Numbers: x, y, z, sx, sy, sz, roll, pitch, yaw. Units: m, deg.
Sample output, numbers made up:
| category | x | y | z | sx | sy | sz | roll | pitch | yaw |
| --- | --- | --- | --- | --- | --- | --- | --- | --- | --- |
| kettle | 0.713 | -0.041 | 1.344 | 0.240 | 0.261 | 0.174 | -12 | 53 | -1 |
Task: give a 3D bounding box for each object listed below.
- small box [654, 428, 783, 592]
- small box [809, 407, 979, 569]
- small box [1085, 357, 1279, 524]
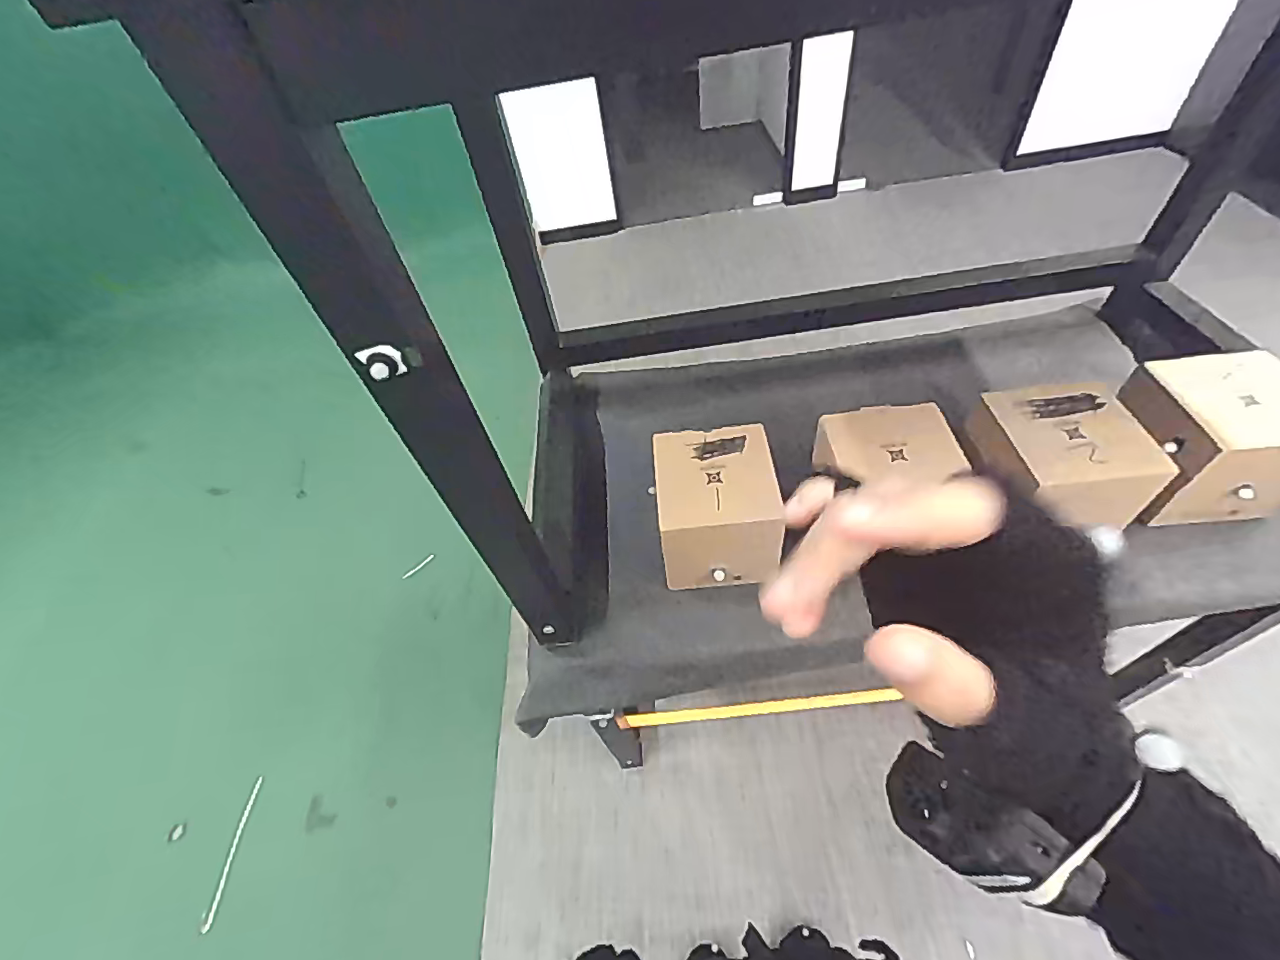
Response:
| category | x | y | z | sx | sy | sz | roll | pitch | yaw |
| --- | --- | --- | --- | --- | --- | --- | --- | --- | --- |
| small box | 0.111 | 0.047 | 0.812 | 0.168 | 0.176 | 0.179 | -6 | 51 | 5 |
| small box | 0.355 | 0.020 | 0.796 | 0.168 | 0.176 | 0.179 | -6 | 49 | 5 |
| small box | 0.802 | -0.048 | 0.774 | 0.168 | 0.176 | 0.179 | -5 | 49 | 5 |
